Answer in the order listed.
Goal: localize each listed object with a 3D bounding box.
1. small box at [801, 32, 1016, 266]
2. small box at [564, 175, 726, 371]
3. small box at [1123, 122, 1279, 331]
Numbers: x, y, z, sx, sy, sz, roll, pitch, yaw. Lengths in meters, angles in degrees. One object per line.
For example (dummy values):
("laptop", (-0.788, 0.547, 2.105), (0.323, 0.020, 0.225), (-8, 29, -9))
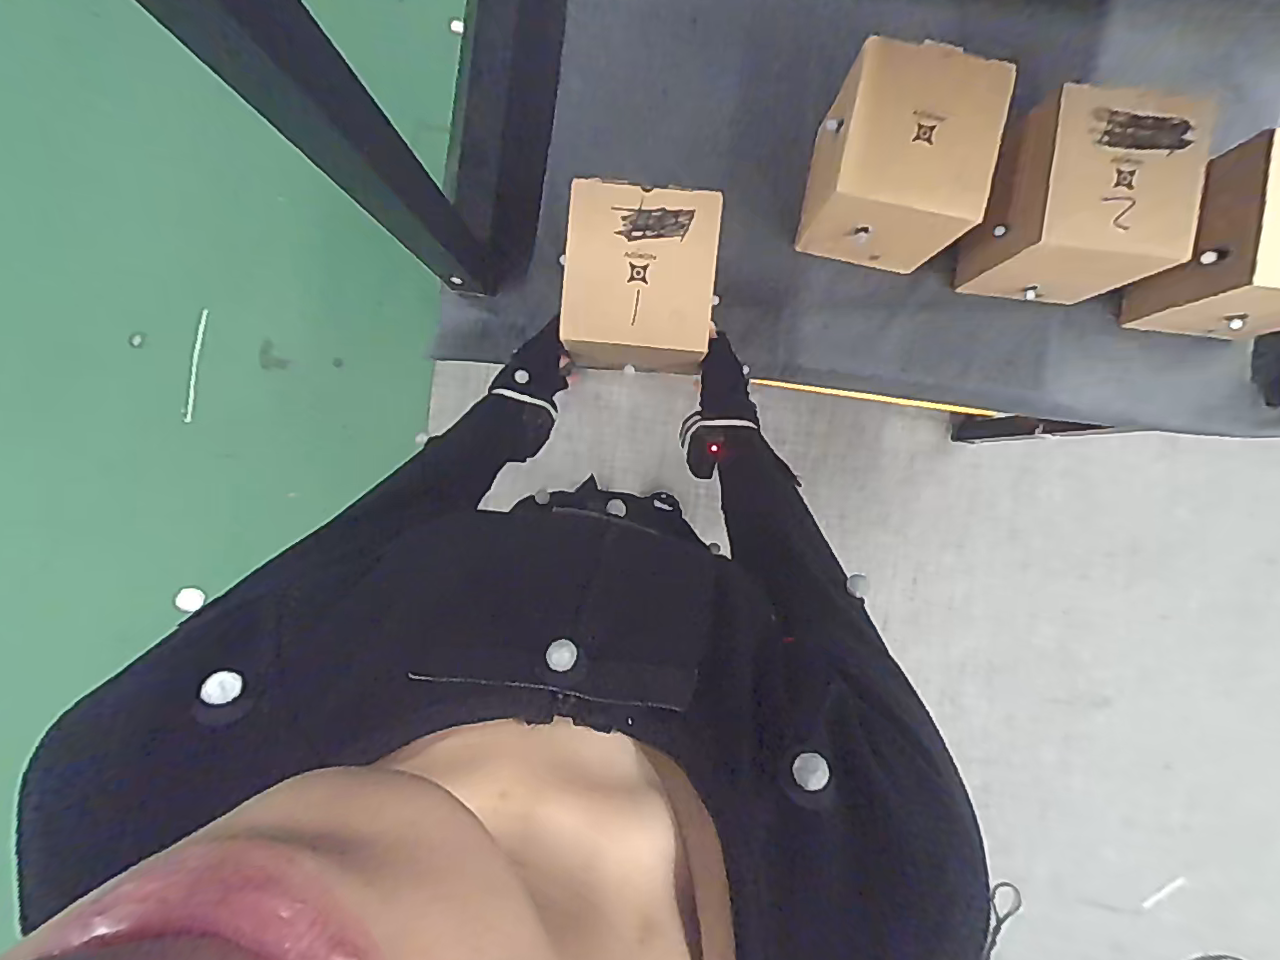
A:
("small box", (0.312, -0.388, 0.668), (0.168, 0.176, 0.179), (12, 91, 0))
("small box", (0.005, -0.242, 0.670), (0.168, 0.176, 0.179), (5, 93, 0))
("small box", (0.750, -0.293, 0.664), (0.168, 0.176, 0.179), (6, 91, 0))
